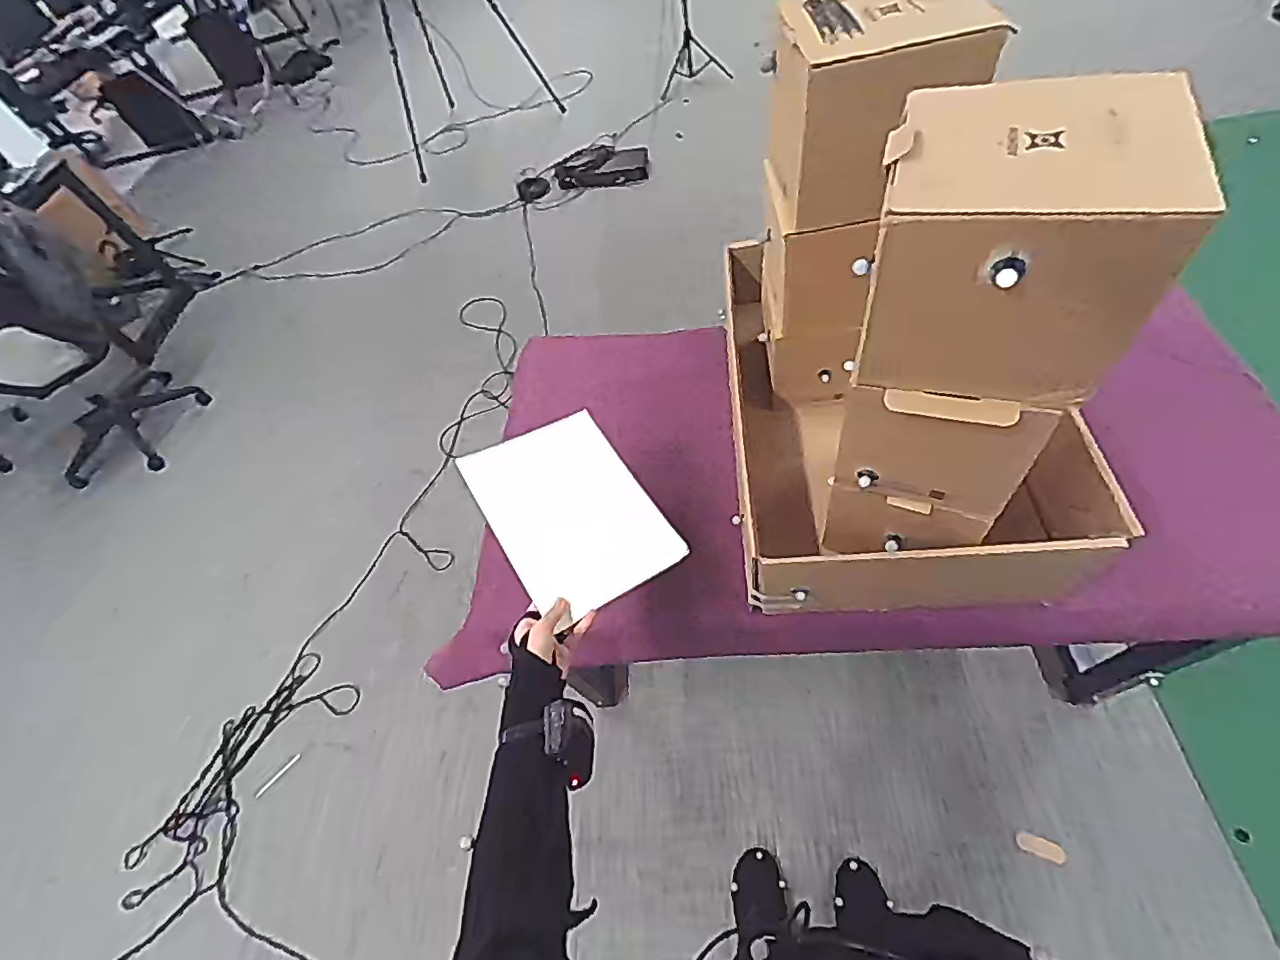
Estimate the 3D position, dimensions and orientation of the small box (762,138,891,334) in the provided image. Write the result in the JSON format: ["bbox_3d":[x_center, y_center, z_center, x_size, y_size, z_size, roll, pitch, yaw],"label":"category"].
[{"bbox_3d":[0.263,-0.317,0.726,0.179,0.176,0.168,-7,57,8],"label":"small box"}]

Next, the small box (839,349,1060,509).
[{"bbox_3d":[0.310,-0.093,0.560,0.168,0.176,0.179,13,60,22],"label":"small box"}]

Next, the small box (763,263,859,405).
[{"bbox_3d":[0.289,-0.234,0.863,0.168,0.176,0.179,-5,58,10],"label":"small box"}]

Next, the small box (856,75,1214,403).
[{"bbox_3d":[0.278,-0.179,0.426,0.179,0.176,0.168,11,60,21],"label":"small box"}]
